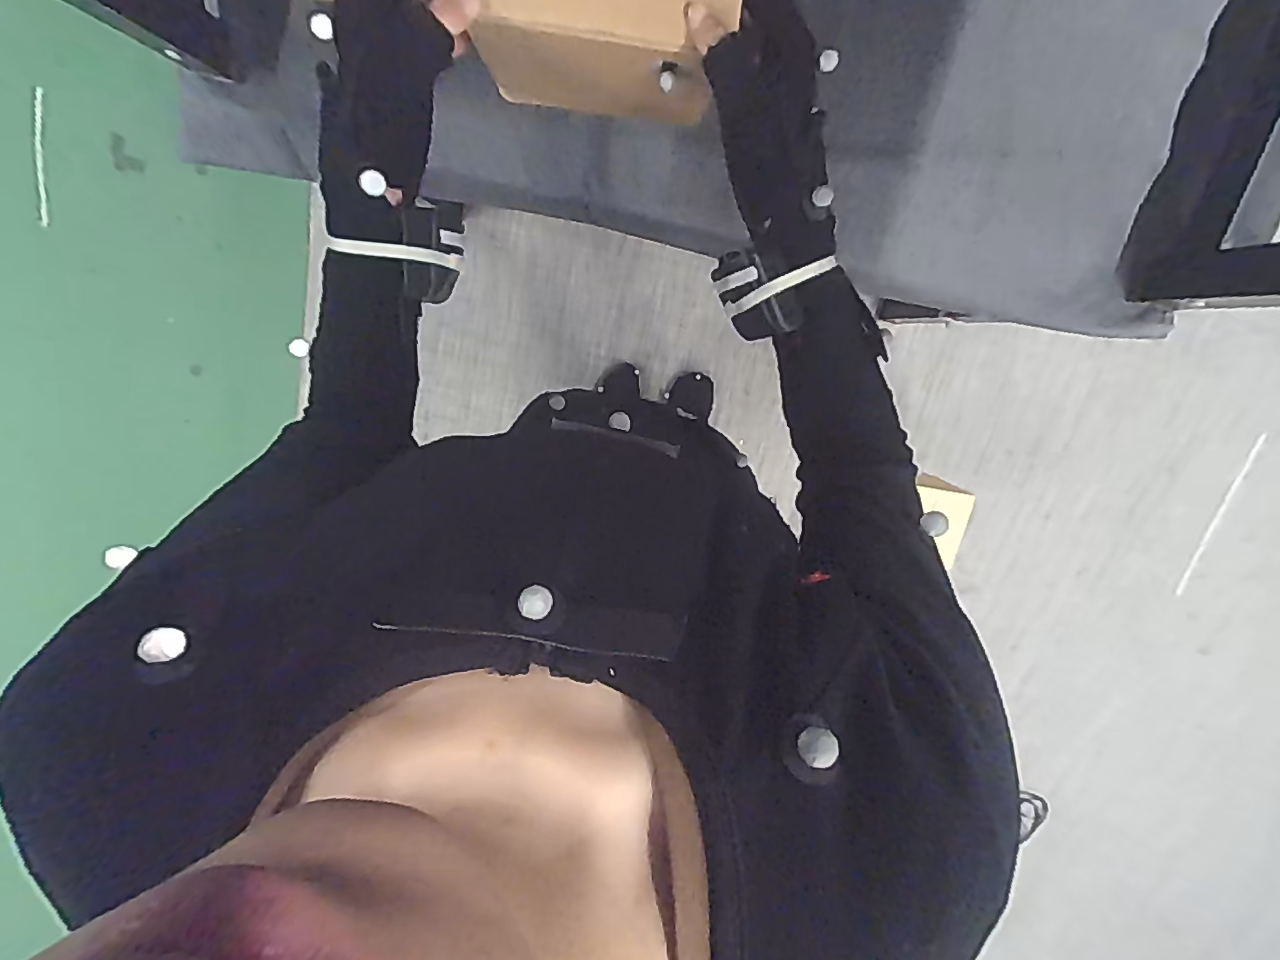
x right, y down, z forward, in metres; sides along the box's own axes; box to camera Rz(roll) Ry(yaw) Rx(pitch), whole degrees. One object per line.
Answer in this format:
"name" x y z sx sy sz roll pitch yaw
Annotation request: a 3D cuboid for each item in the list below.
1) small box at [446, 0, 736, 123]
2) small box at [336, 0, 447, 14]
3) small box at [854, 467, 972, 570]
"small box" -0.026 -0.371 0.379 0.179 0.176 0.168 4 112 -6
"small box" -0.273 -0.575 0.498 0.179 0.176 0.168 6 107 -1
"small box" 0.616 0.084 1.248 0.168 0.176 0.179 10 104 -1
